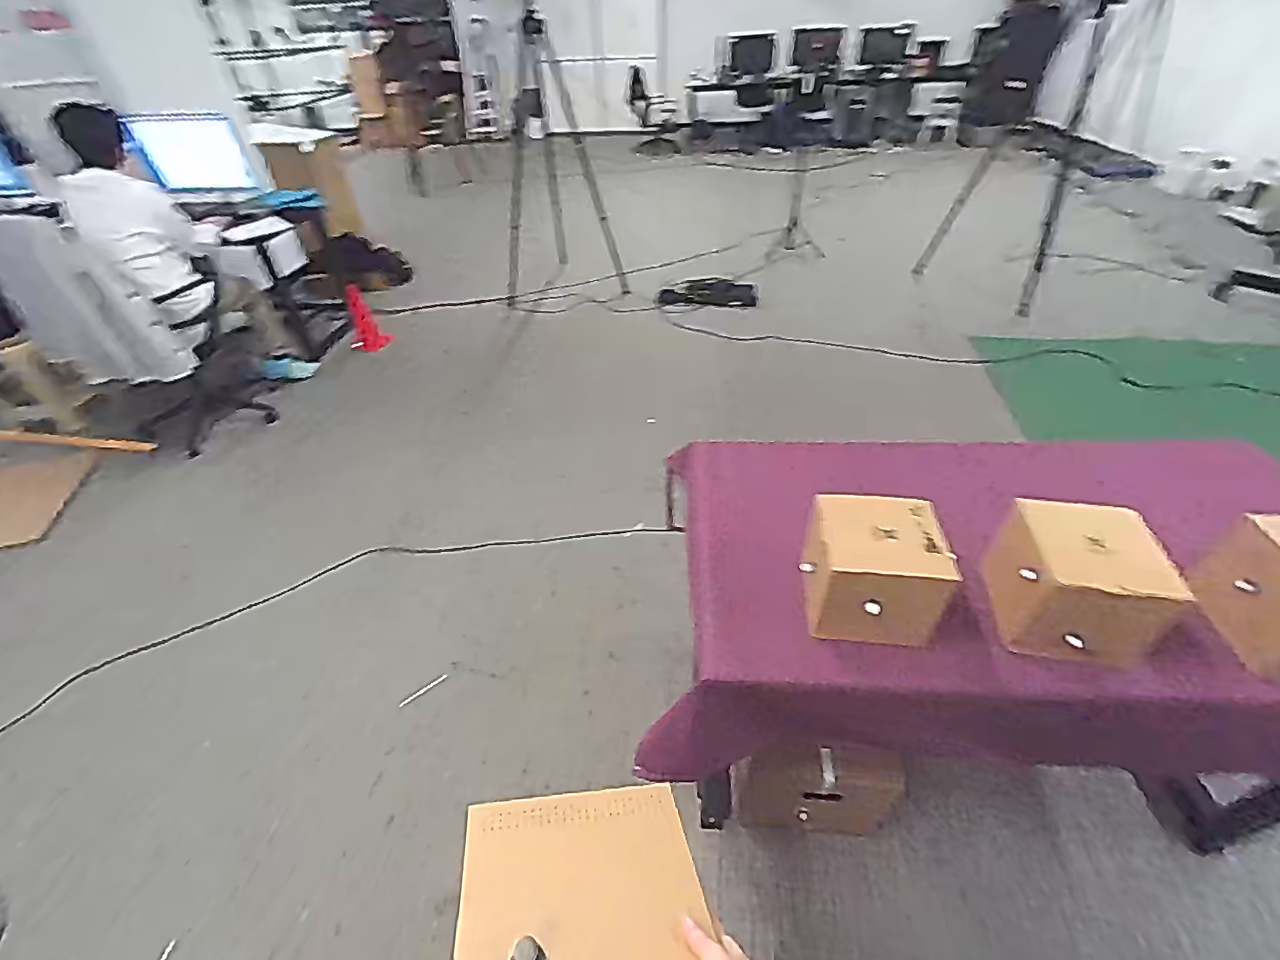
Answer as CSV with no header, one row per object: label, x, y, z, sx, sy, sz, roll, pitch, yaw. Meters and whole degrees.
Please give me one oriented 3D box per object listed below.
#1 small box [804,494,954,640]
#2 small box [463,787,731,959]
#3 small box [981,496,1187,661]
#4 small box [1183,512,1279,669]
small box,0.365,0.140,0.868,0.179,0.176,0.168,2,42,7
small box,-0.042,0.369,0.415,0.179,0.168,0.176,1,18,-12
small box,0.661,0.150,0.838,0.168,0.176,0.179,6,43,11
small box,0.978,0.168,0.791,0.168,0.176,0.179,2,41,7
